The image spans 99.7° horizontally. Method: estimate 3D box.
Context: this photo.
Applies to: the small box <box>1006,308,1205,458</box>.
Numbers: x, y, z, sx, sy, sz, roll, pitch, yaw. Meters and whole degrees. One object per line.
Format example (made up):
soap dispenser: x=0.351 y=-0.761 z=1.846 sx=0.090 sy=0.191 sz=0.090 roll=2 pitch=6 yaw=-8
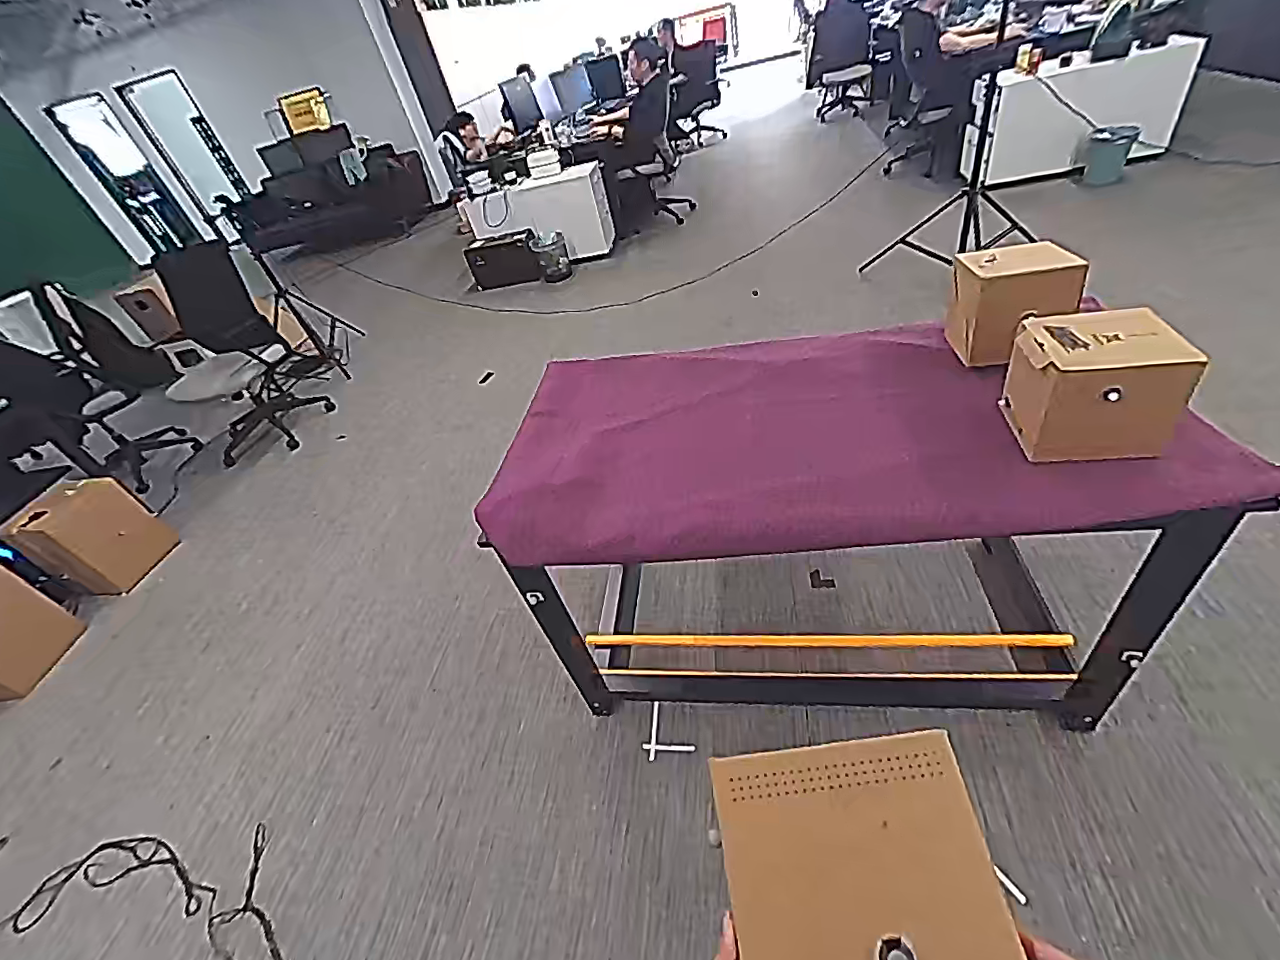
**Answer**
small box: x=0.700 y=-0.146 z=0.846 sx=0.179 sy=0.176 sz=0.168 roll=-3 pitch=41 yaw=15
